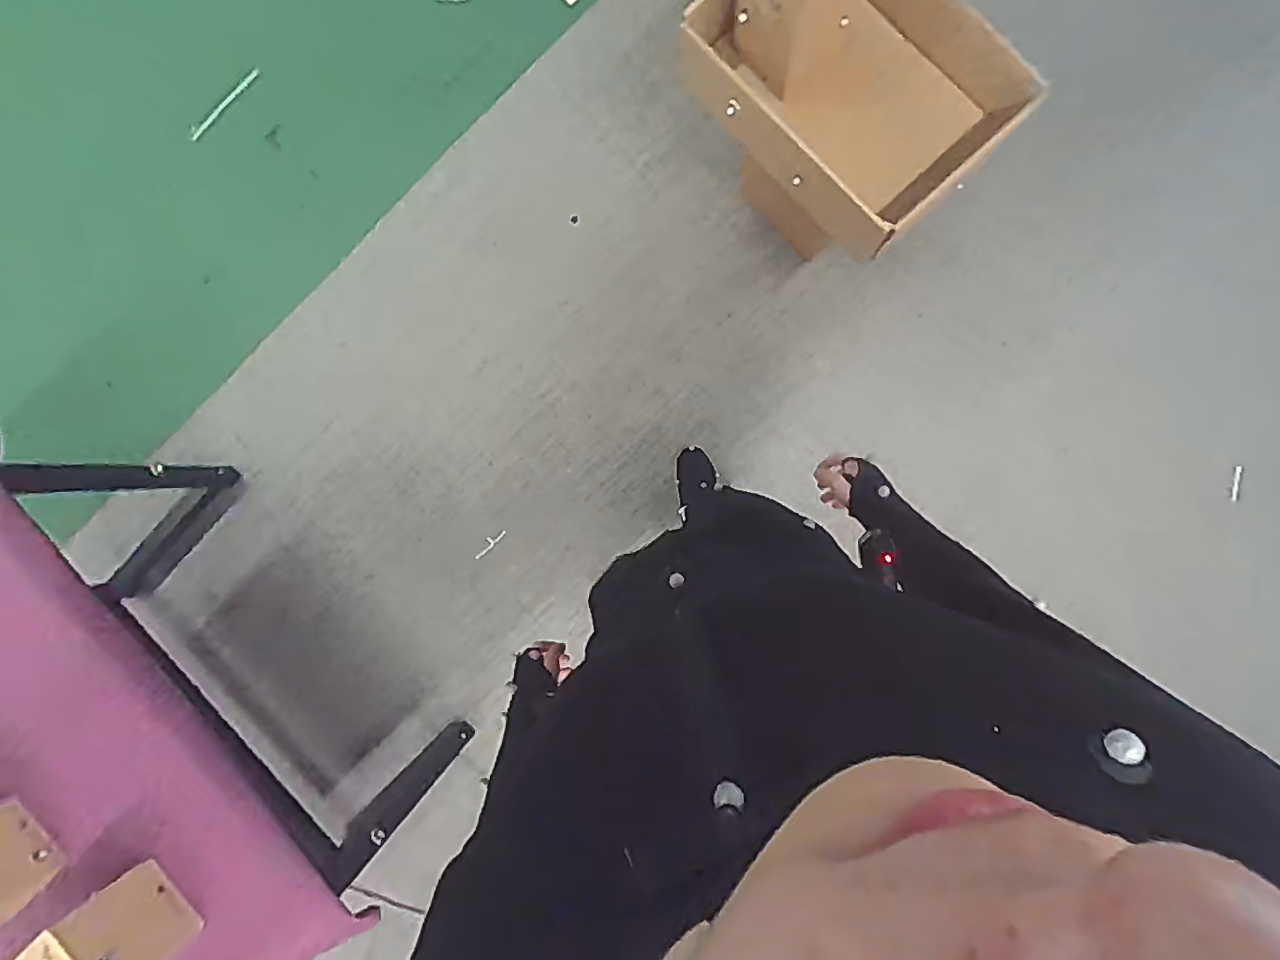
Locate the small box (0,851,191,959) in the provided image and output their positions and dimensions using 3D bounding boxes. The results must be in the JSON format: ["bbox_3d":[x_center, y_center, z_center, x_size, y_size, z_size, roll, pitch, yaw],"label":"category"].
[{"bbox_3d":[-0.936,0.797,0.922,0.179,0.176,0.168,-42,88,4],"label":"small box"}]

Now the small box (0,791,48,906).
[{"bbox_3d":[-1.213,0.695,0.942,0.179,0.176,0.168,-44,88,5],"label":"small box"}]
